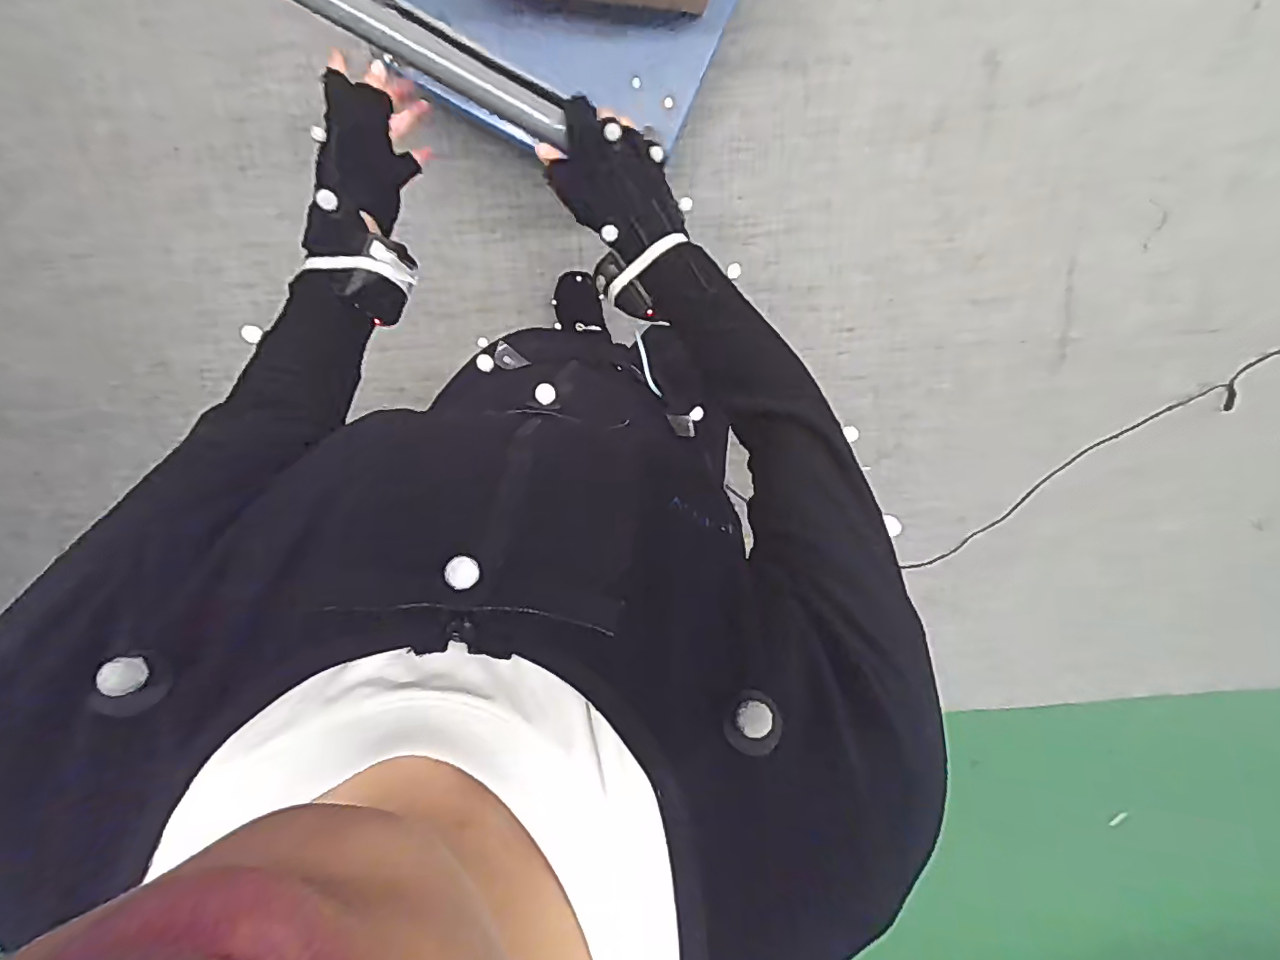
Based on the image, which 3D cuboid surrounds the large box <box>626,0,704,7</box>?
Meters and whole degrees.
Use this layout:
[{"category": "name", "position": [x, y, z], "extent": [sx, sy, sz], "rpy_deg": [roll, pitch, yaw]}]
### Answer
[{"category": "large box", "position": [-0.068, -0.942, 0.780], "extent": [0.408, 0.320, 0.320], "rpy_deg": [5, 115, -4]}]
